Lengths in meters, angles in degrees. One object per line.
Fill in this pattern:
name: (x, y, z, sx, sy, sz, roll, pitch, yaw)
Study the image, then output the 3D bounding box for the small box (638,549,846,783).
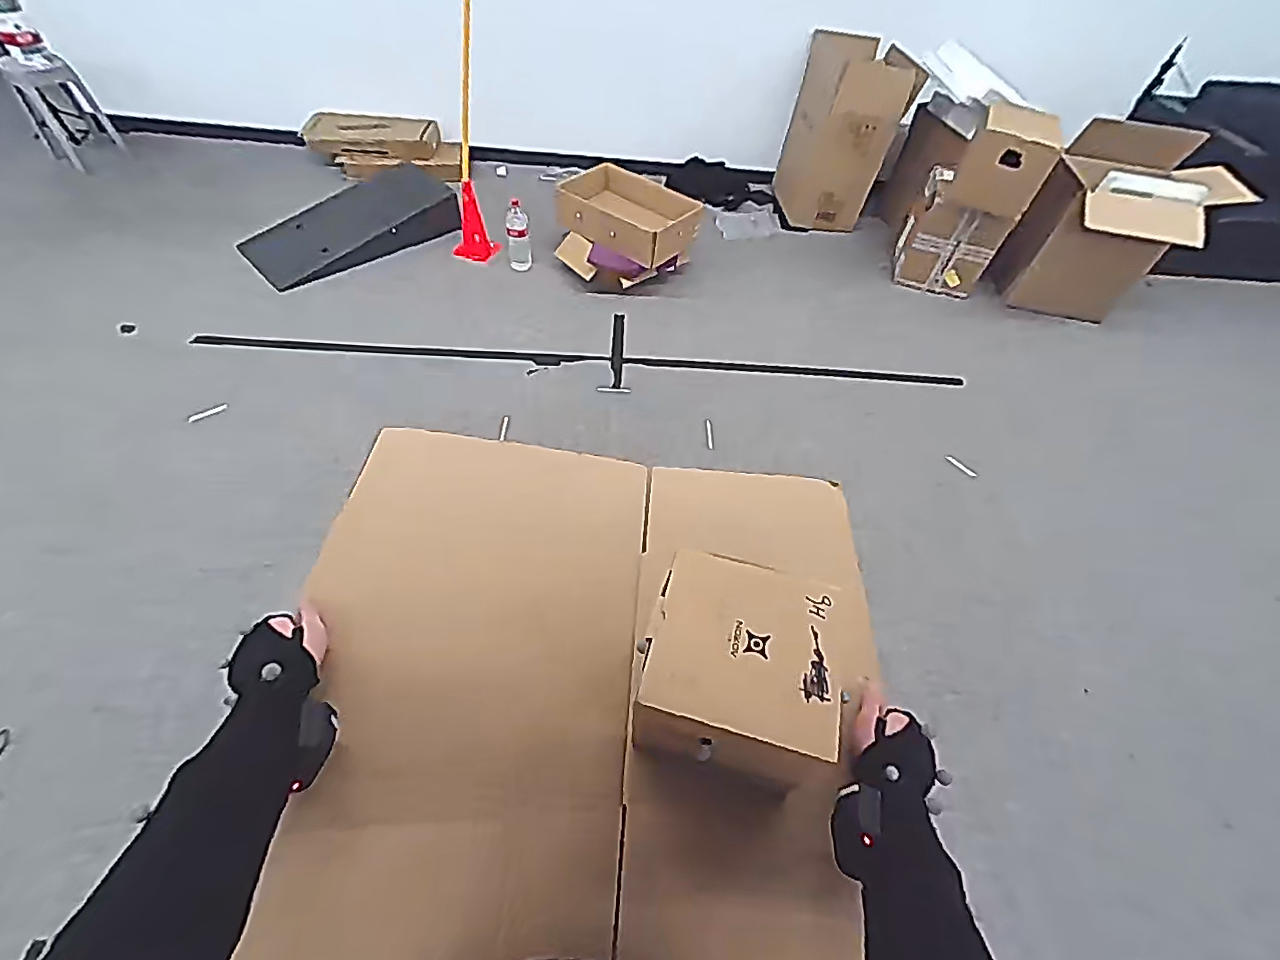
small box: (0.103, 0.201, 0.574, 0.179, 0.176, 0.168, 13, 53, 10)
